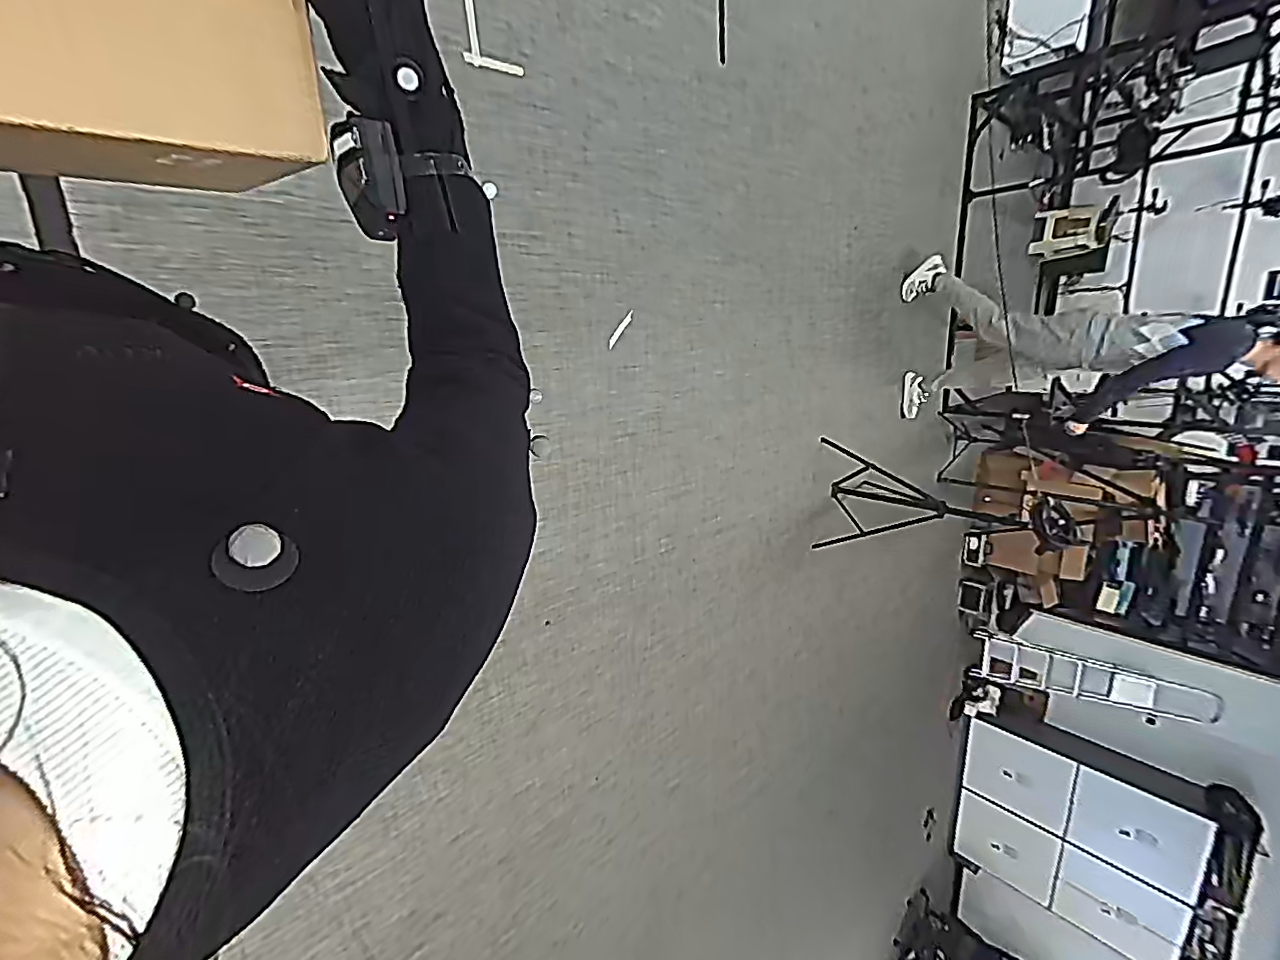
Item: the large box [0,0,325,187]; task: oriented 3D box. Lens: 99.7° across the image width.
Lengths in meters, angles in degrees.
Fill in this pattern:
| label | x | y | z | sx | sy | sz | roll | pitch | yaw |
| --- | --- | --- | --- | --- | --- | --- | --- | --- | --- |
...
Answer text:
| label | x | y | z | sx | sy | sz | roll | pitch | yaw |
| --- | --- | --- | --- | --- | --- | --- | --- | --- | --- |
| large box | -0.459 | -0.354 | 0.285 | 0.408 | 0.320 | 0.320 | -19 | 121 | -40 |
